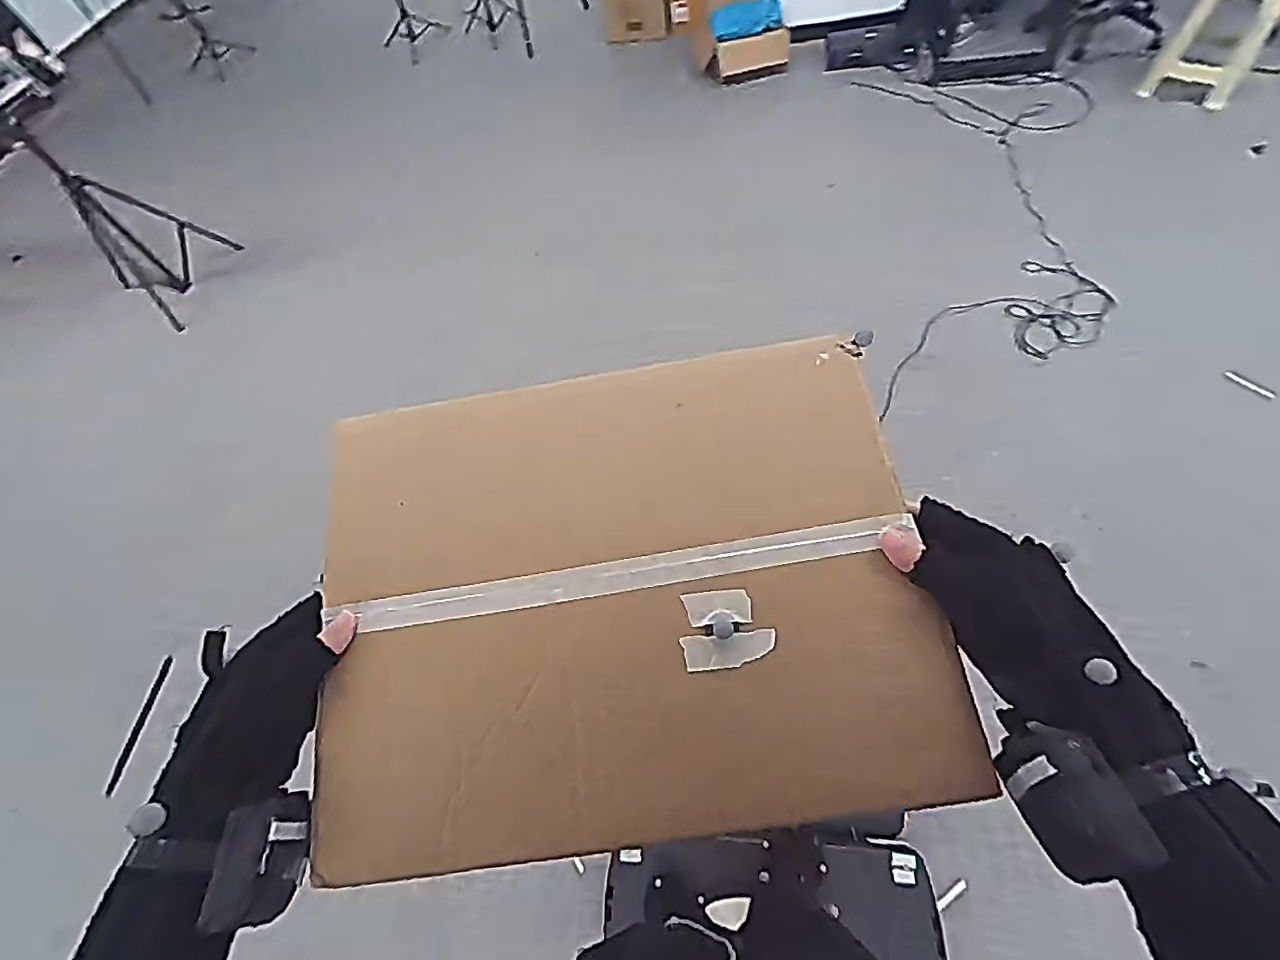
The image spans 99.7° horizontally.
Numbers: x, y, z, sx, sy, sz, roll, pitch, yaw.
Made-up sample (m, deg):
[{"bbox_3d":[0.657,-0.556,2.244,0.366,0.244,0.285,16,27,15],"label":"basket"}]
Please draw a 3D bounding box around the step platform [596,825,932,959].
[{"bbox_3d":[0.247,0.930,1.168,0.684,0.204,0.286,-3,59,10],"label":"step platform"}]

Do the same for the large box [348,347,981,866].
[{"bbox_3d":[0.003,0.119,0.521,0.408,0.320,0.320,-9,70,2],"label":"large box"}]
